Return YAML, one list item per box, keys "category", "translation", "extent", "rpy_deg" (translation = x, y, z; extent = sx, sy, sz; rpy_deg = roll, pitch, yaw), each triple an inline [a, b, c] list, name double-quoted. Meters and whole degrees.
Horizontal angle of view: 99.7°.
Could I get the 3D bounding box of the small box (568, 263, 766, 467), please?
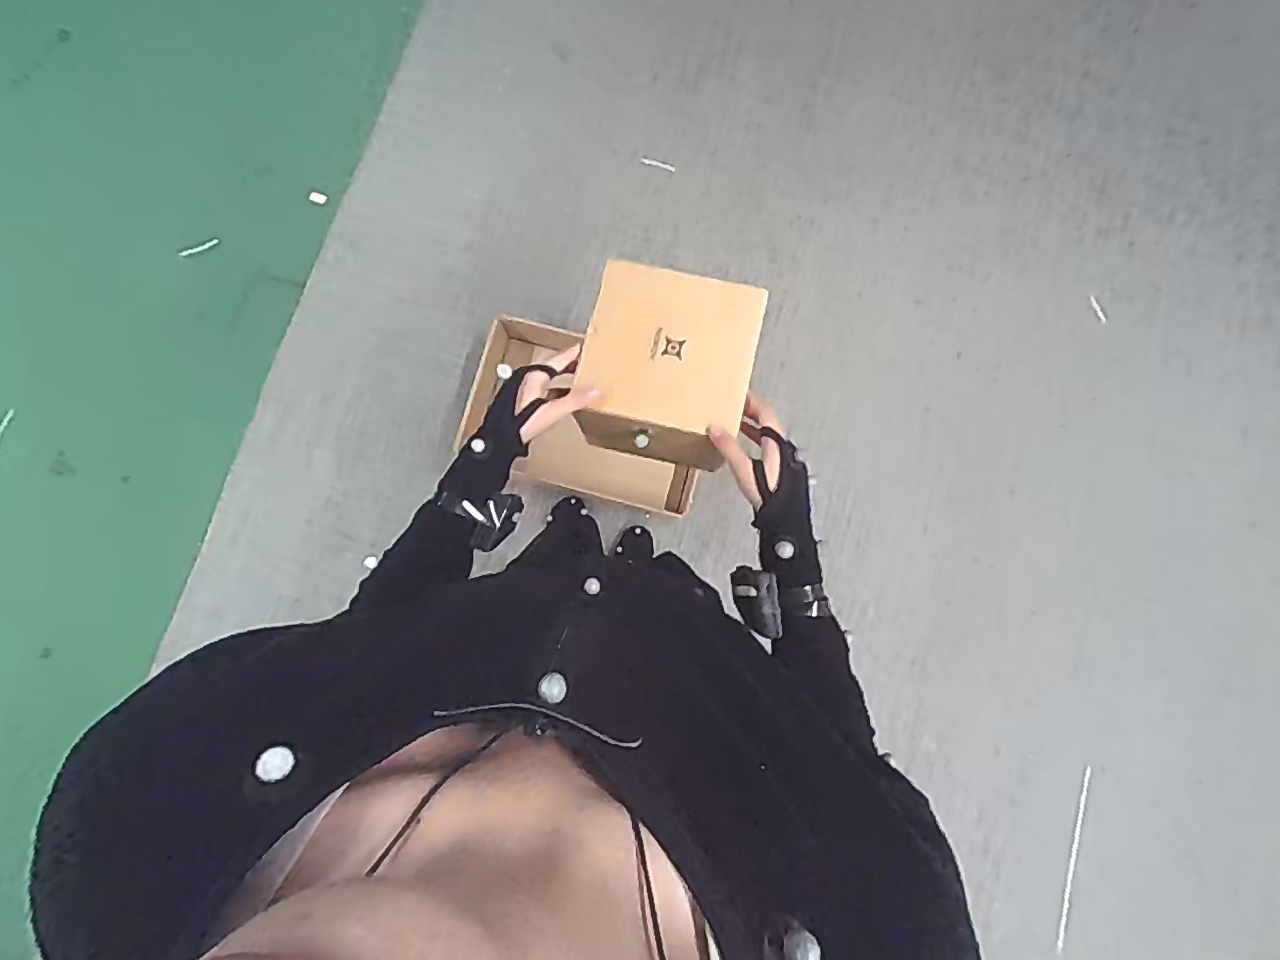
- category: "small box"
  translation: [0.033, -0.120, 0.629]
  extent: [0.179, 0.176, 0.168]
  rpy_deg: [12, 80, 6]
